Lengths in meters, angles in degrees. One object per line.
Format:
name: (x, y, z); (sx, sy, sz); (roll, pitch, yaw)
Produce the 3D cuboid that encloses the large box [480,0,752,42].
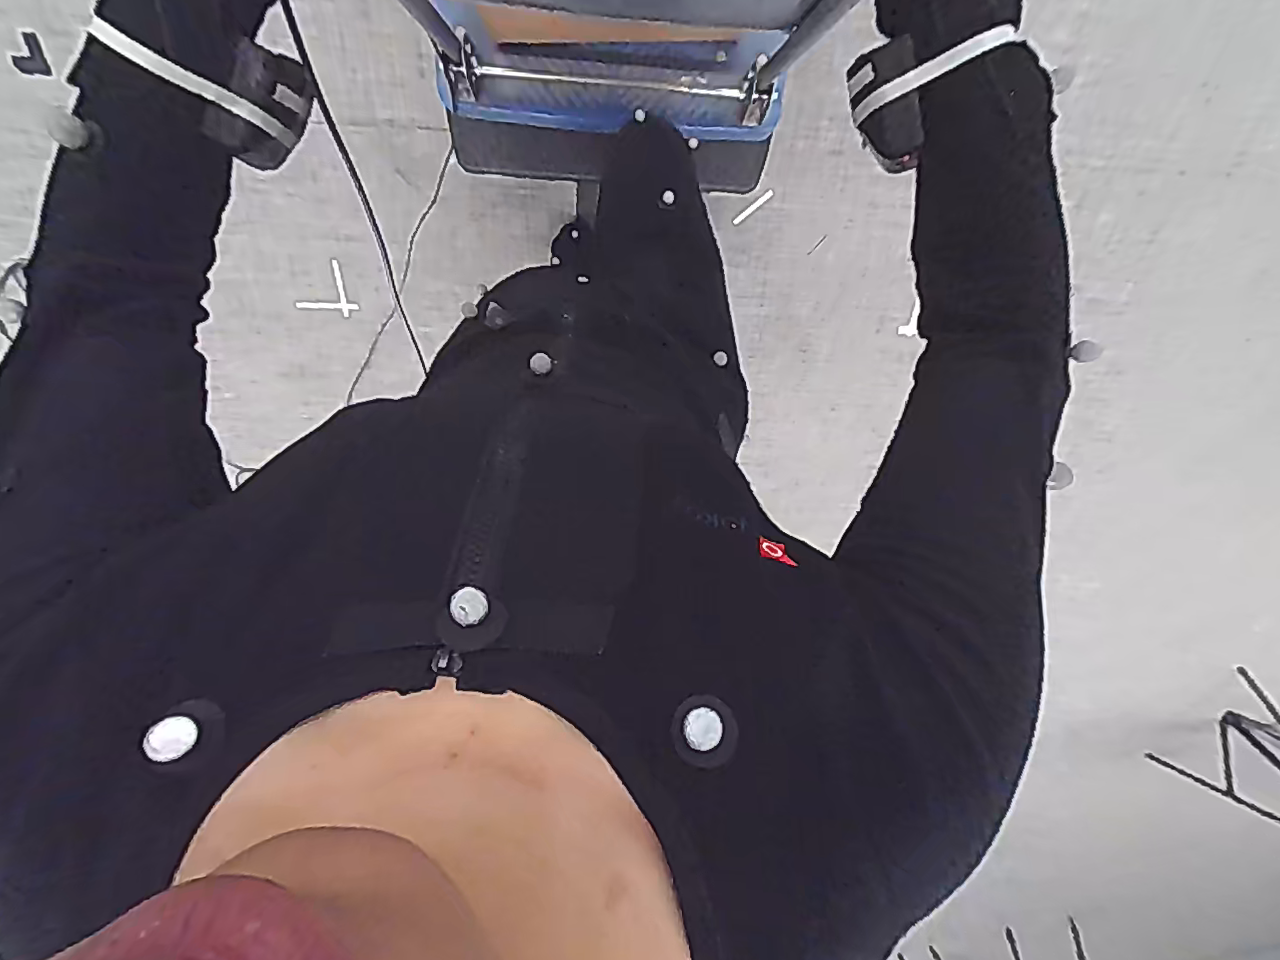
large box: (-0.036, -0.816, 0.697); (0.408, 0.320, 0.320); (-3, 112, -3)
